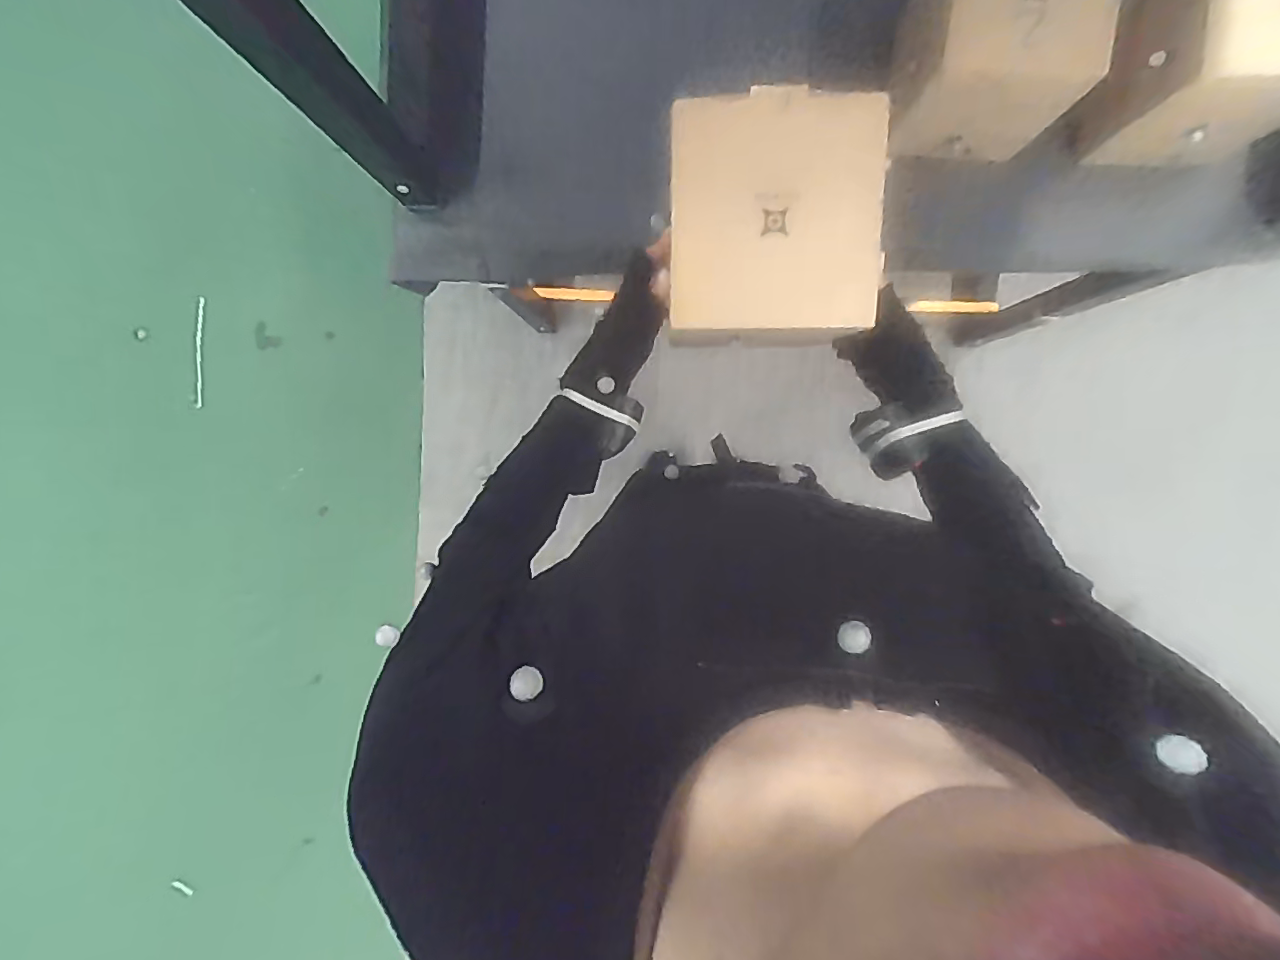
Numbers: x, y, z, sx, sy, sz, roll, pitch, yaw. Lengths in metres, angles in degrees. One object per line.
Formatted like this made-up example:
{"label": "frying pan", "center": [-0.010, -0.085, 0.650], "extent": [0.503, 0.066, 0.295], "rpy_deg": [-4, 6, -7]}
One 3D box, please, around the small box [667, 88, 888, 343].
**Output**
{"label": "small box", "center": [0.110, -0.223, 0.503], "extent": [0.168, 0.176, 0.179], "rpy_deg": [1, 99, 3]}

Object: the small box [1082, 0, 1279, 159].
{"label": "small box", "center": [0.648, -0.492, 0.613], "extent": [0.168, 0.176, 0.179], "rpy_deg": [2, 92, 3]}
